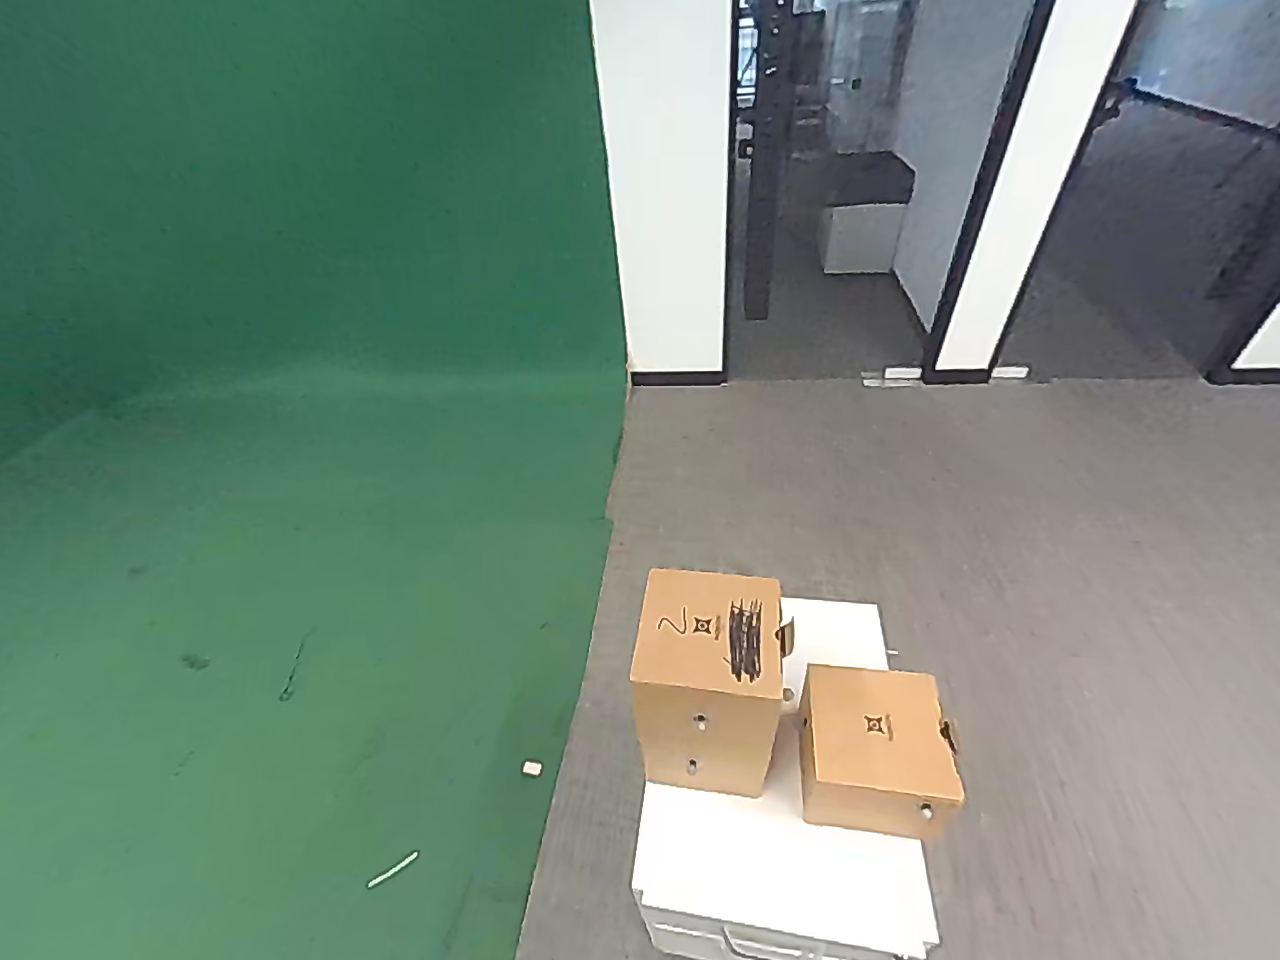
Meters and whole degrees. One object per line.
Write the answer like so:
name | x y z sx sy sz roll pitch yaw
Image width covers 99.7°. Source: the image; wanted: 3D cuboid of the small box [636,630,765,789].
small box | 0.098 0.354 0.832 0.179 0.176 0.168 3 44 9
